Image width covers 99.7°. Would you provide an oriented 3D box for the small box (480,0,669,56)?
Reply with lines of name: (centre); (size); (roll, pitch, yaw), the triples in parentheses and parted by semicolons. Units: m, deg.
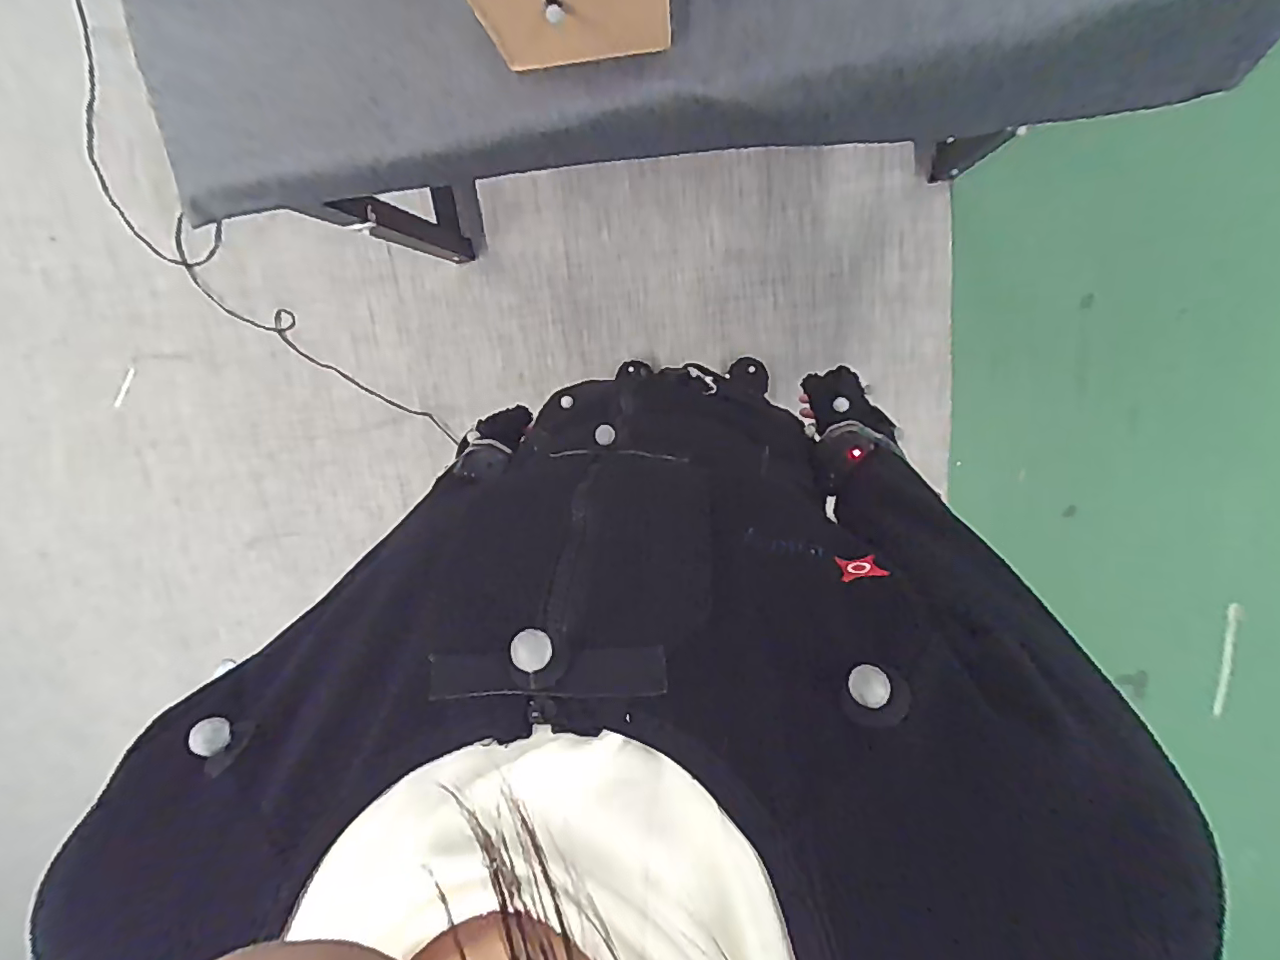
small box: (-0.070, -0.517, 0.482); (0.179, 0.176, 0.168); (-2, 103, 7)
